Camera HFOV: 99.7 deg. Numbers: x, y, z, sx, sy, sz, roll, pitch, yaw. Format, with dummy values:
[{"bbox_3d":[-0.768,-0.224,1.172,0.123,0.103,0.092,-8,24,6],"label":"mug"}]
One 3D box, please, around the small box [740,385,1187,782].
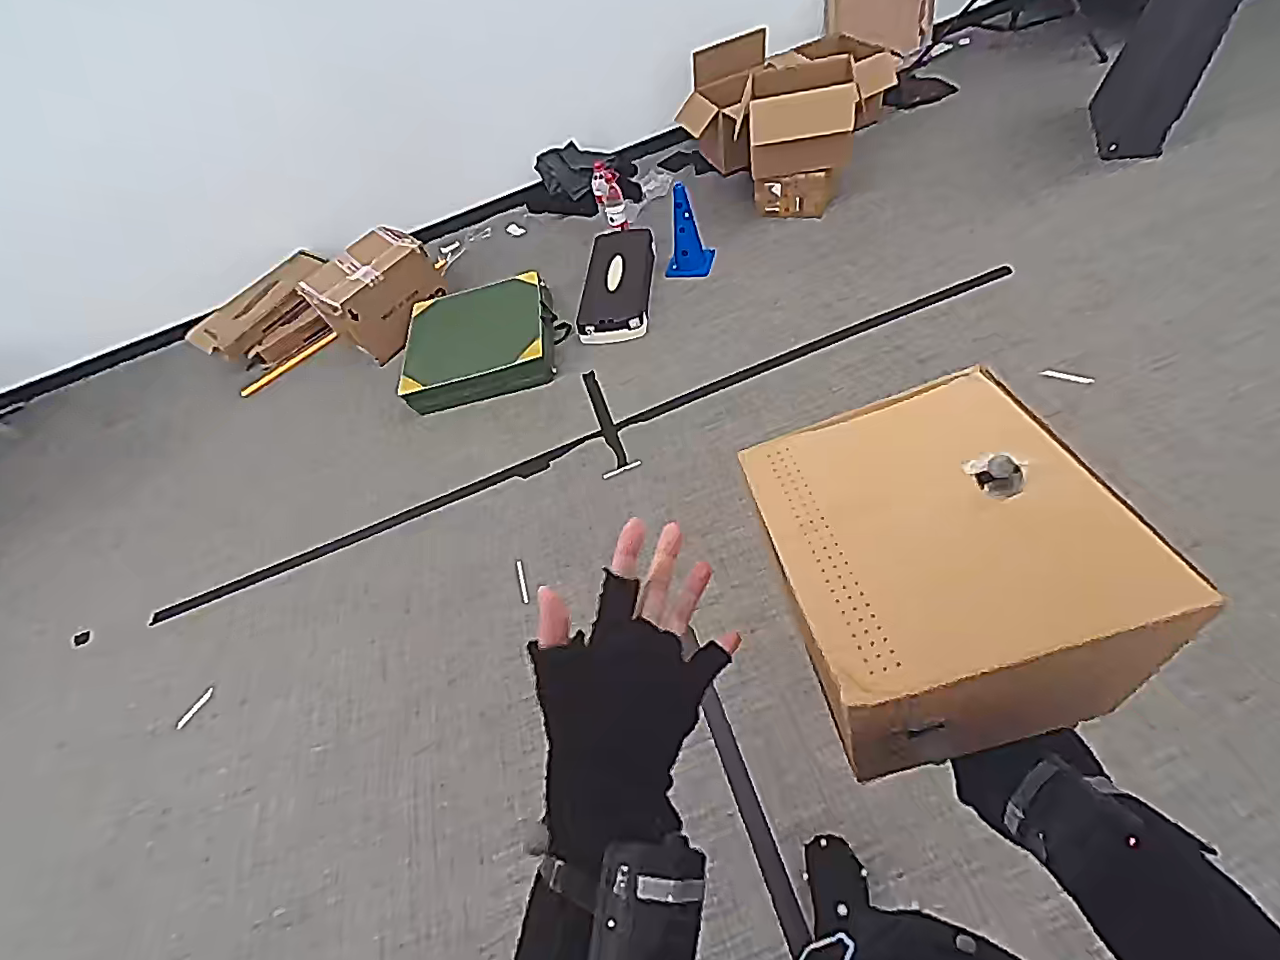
[{"bbox_3d":[0.178,0.072,0.364,0.176,0.168,0.179,-21,46,8],"label":"small box"}]
